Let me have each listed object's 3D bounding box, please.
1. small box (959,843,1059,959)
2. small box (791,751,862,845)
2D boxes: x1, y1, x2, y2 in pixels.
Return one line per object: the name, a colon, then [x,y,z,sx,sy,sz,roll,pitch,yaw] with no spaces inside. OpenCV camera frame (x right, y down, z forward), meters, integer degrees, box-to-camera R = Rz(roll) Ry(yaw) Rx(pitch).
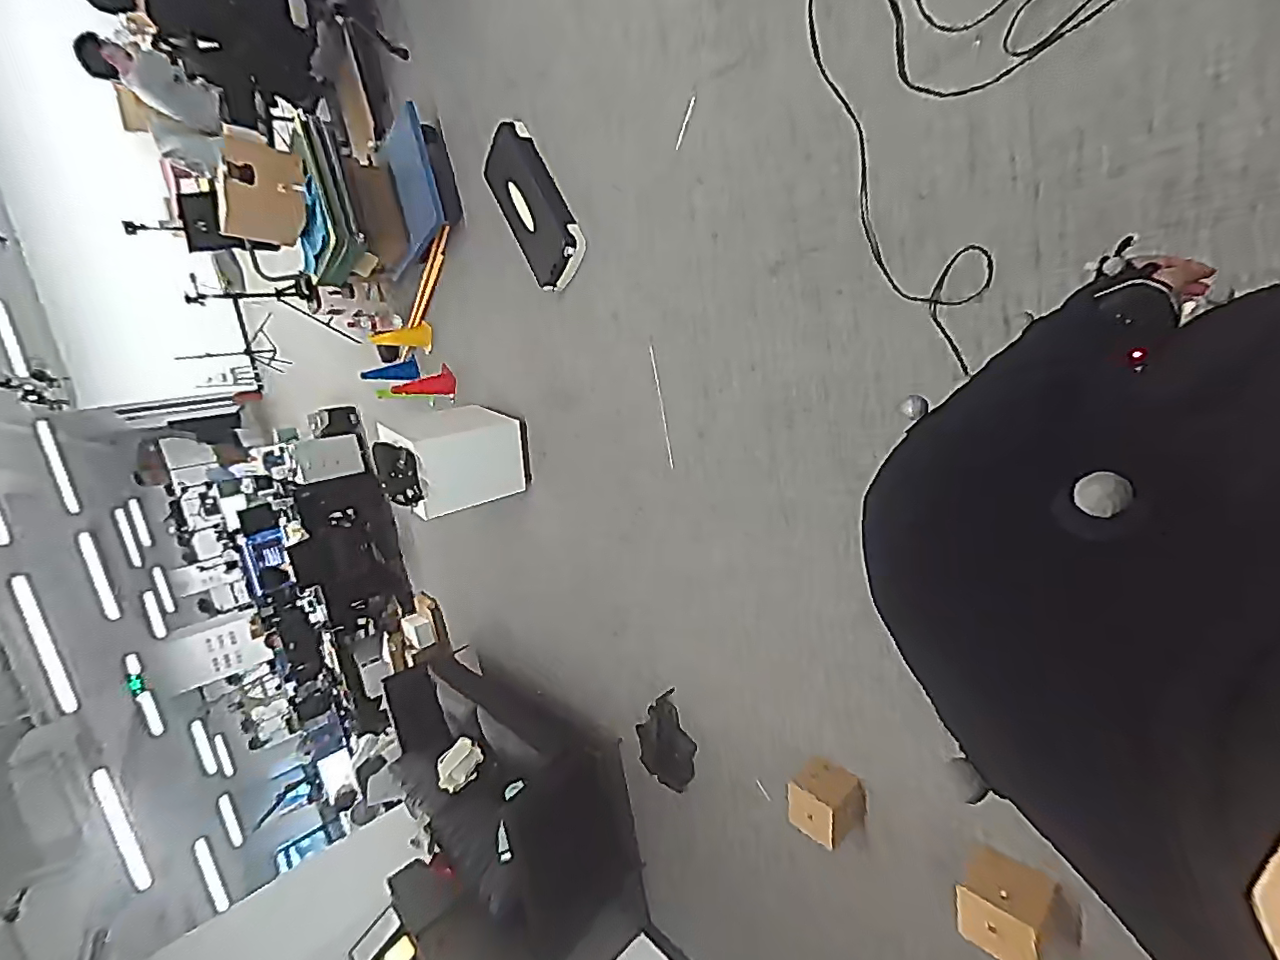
small box: [0.964,1.102,1.417,0.179,0.176,0.168,7,110,50]
small box: [0.627,1.057,1.815,0.168,0.176,0.179,13,116,49]
